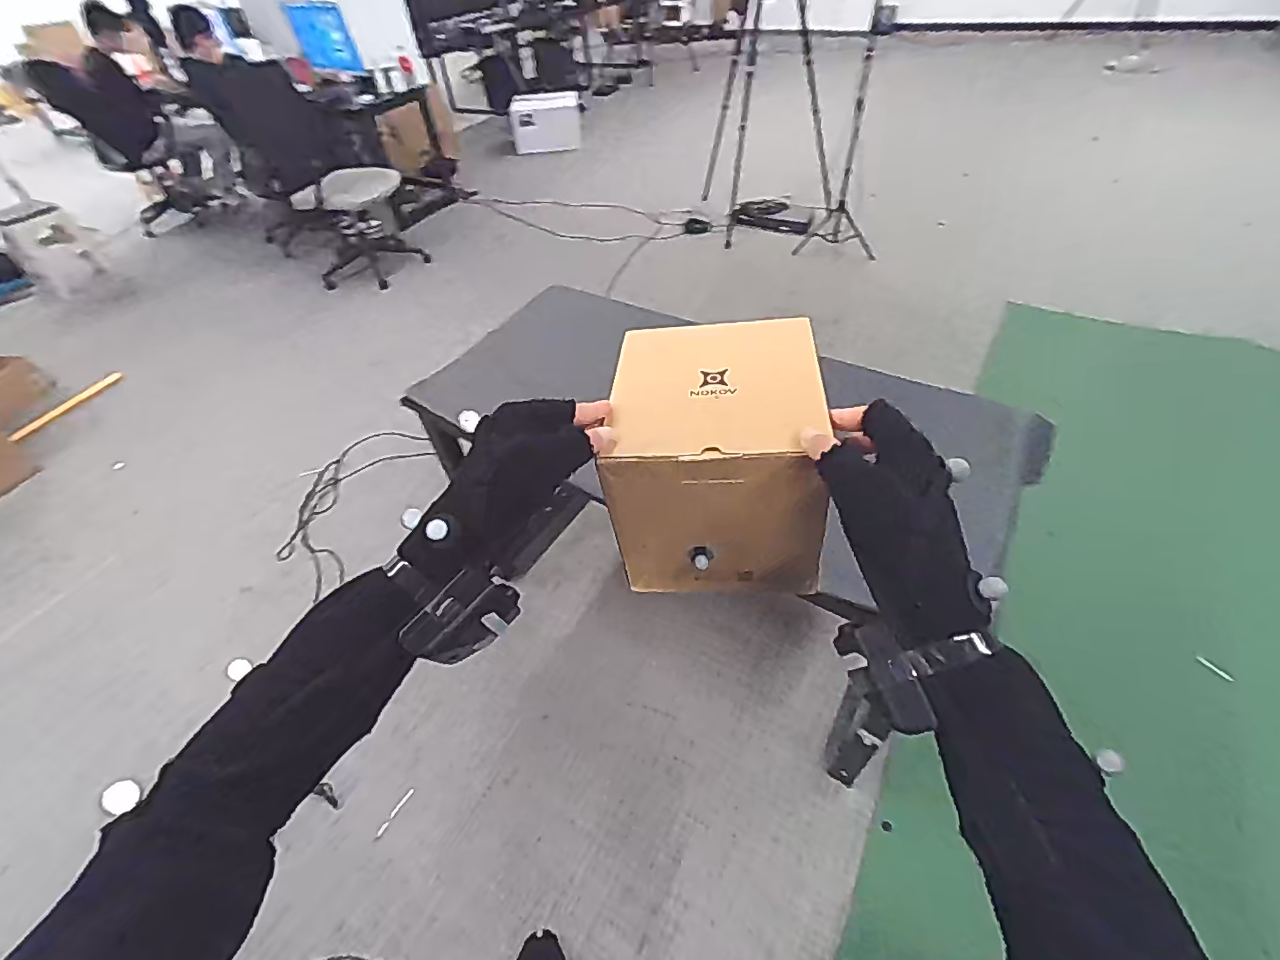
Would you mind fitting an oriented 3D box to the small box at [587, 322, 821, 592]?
[{"bbox_3d":[0.061,-0.020,0.487,0.168,0.176,0.179,-2,45,10],"label":"small box"}]
